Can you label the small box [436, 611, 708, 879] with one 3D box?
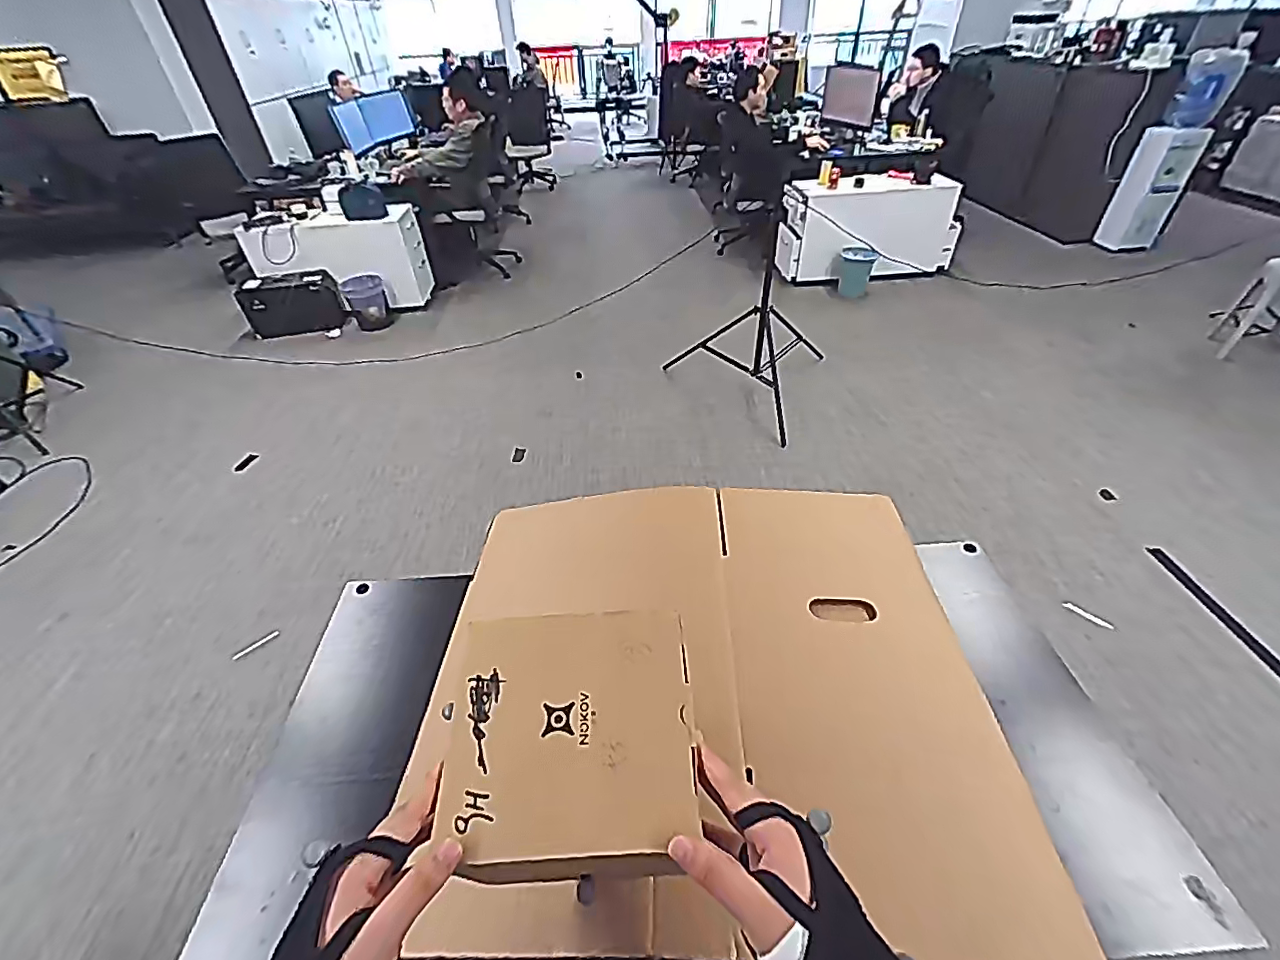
[{"bbox_3d":[-0.046,0.225,0.456,0.179,0.176,0.168,-2,48,-2],"label":"small box"}]
